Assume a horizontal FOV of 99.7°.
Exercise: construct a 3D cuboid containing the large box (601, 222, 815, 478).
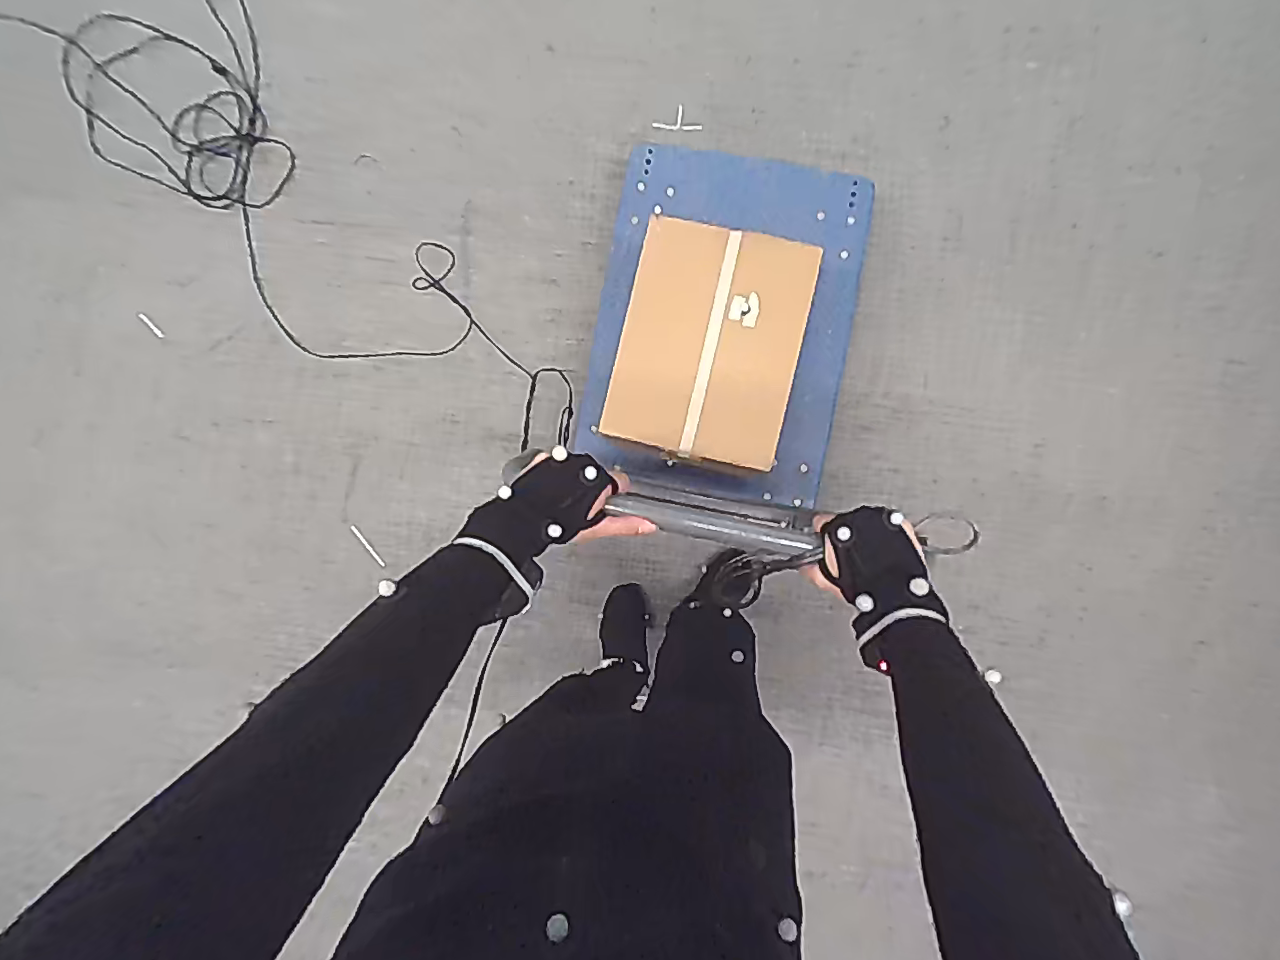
[{"bbox_3d":[0.129,-0.233,1.105,0.320,0.320,0.408,13,89,3],"label":"large box"}]
